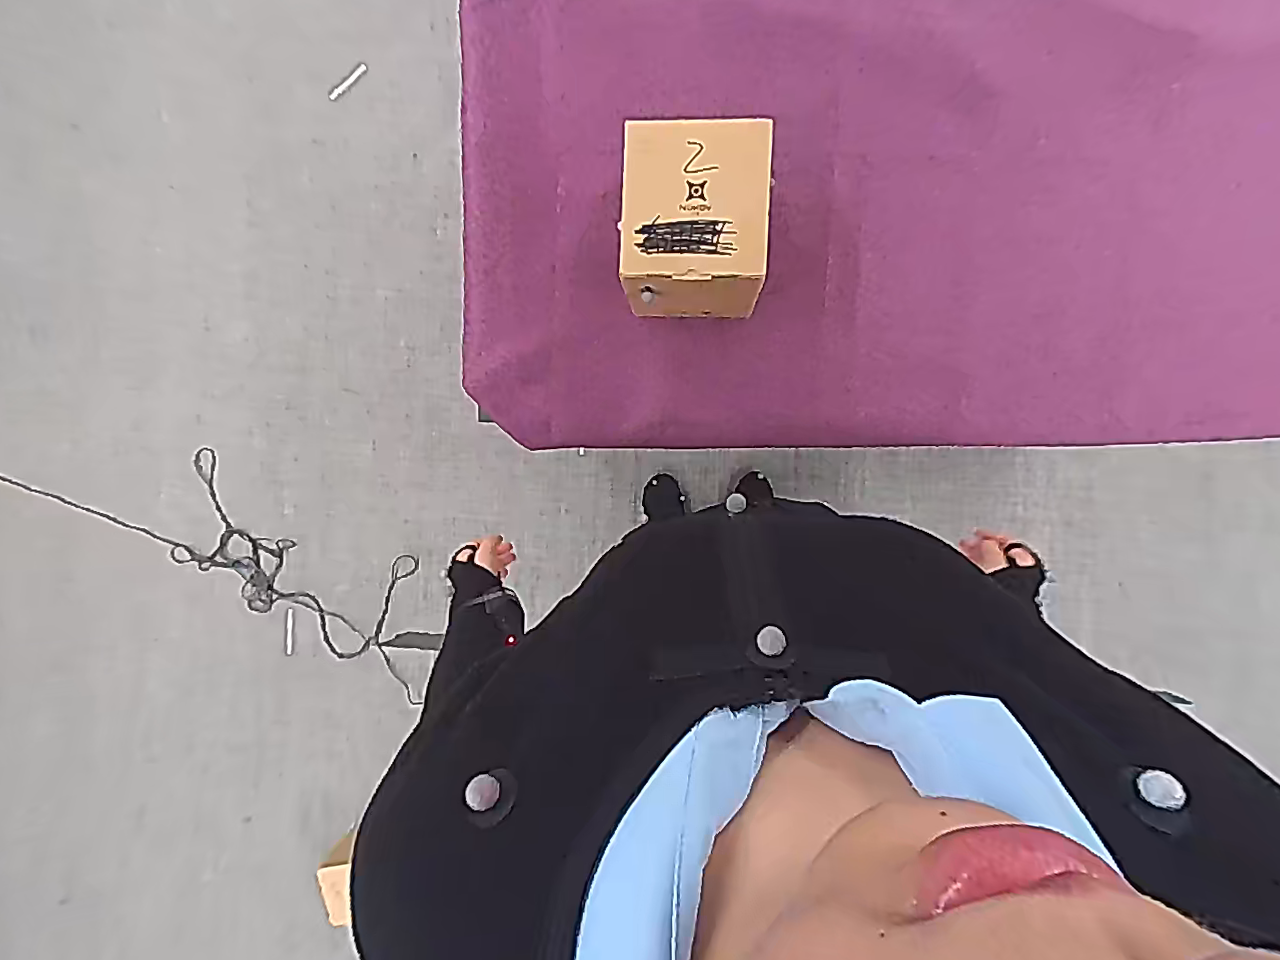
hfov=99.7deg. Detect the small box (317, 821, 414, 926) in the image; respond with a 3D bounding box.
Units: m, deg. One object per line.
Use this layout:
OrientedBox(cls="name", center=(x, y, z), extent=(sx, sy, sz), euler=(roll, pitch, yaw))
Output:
OrientedBox(cls="small box", center=(-0.765, 1.104, 1.531), extent=(0.179, 0.176, 0.168), euler=(-14, 91, 6))
